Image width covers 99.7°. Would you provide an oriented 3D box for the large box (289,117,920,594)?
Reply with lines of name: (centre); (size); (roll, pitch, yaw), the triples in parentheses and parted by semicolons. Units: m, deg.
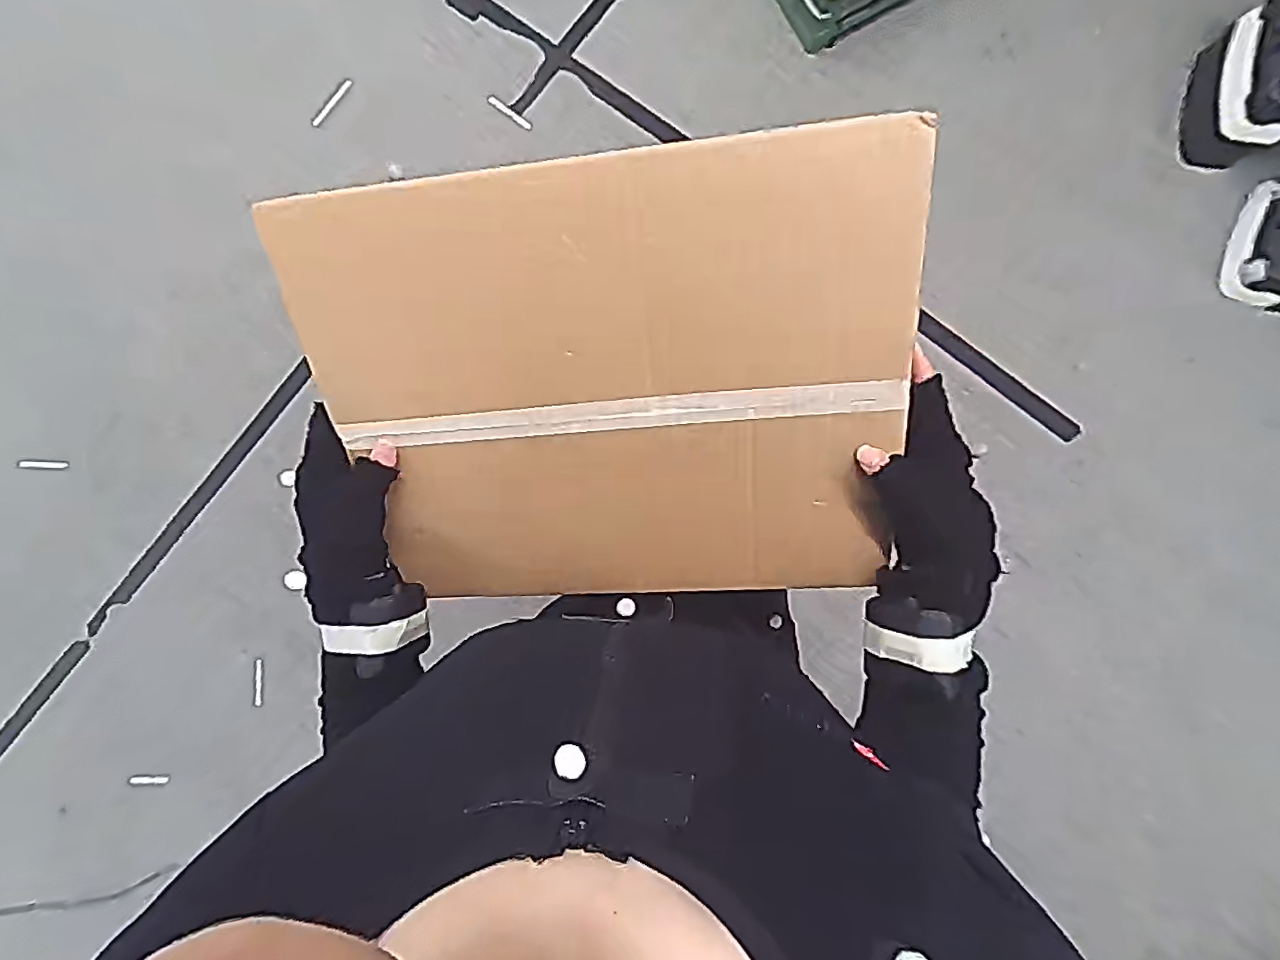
large box: (-0.008, -0.114, 0.523); (0.408, 0.320, 0.320); (-3, 116, 8)
